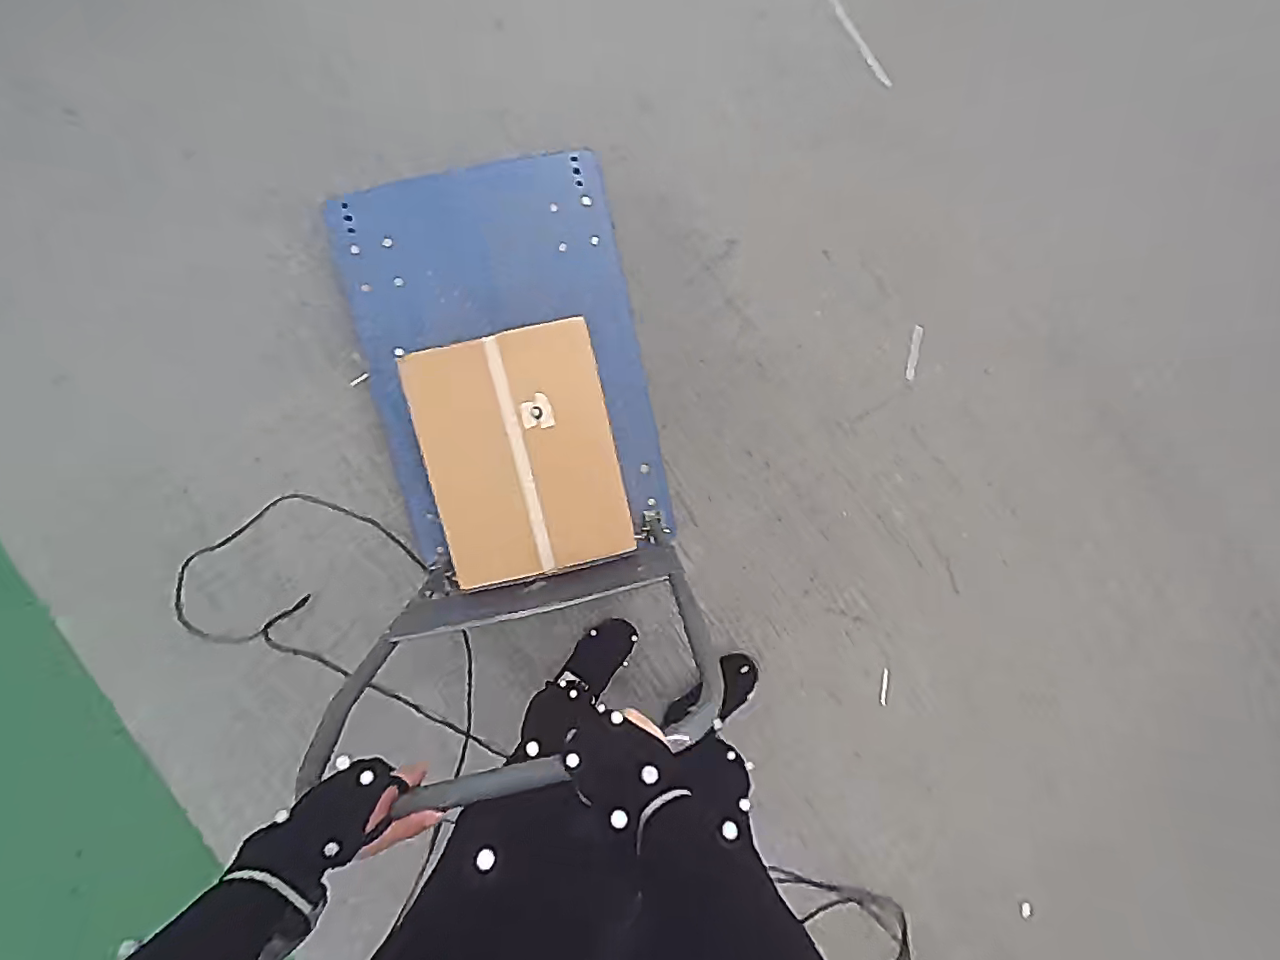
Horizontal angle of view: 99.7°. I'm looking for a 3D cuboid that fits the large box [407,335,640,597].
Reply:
[{"bbox_3d":[-0.200,-0.036,1.073,0.320,0.320,0.408,-14,98,-2],"label":"large box"}]
